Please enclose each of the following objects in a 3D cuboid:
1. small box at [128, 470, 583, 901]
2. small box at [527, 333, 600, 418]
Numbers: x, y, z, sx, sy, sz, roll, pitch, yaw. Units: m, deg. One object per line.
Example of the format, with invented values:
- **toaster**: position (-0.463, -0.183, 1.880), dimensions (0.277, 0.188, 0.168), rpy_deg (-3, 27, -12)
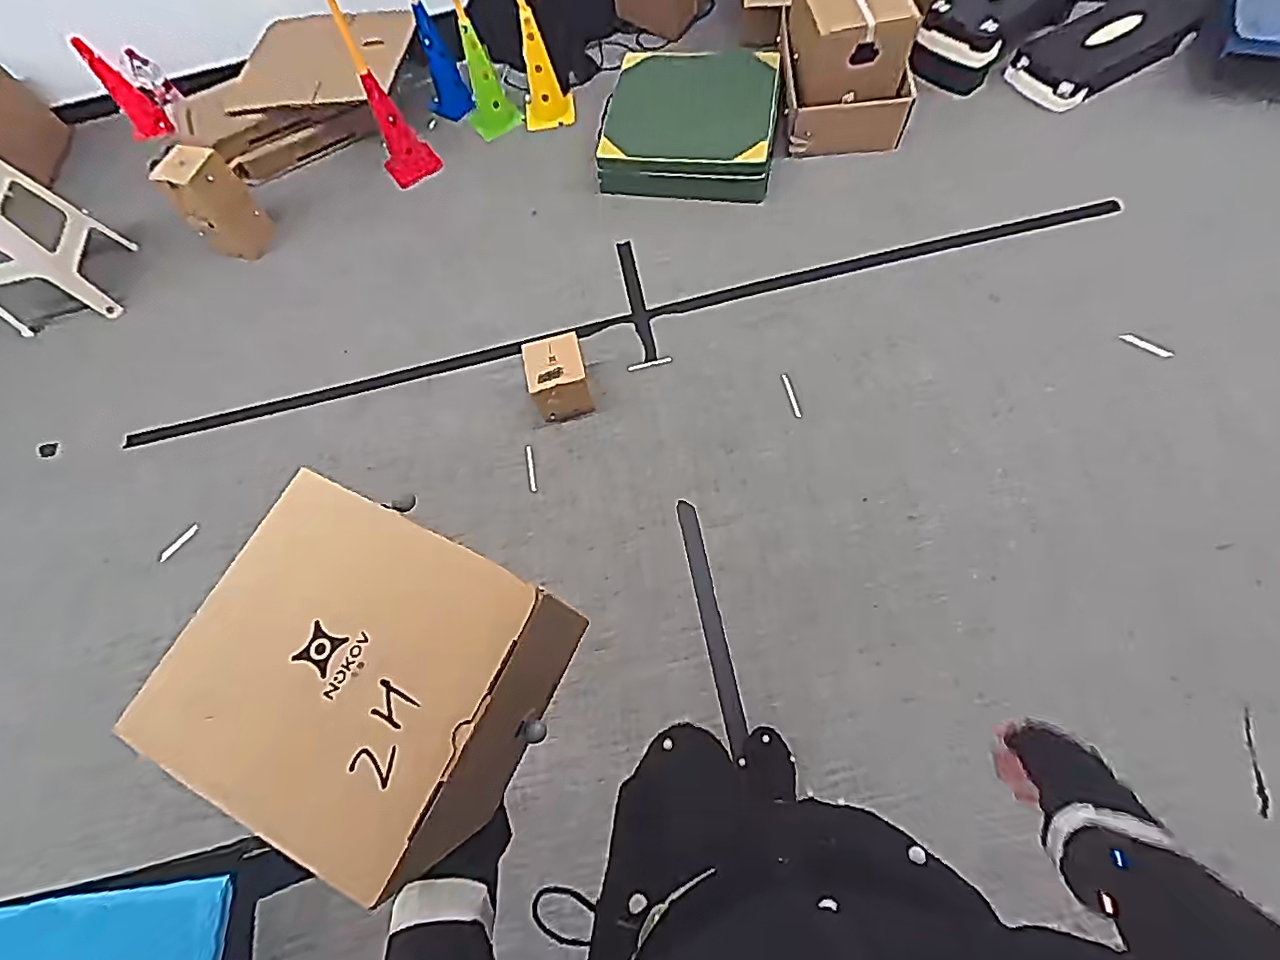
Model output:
- **small box**: position (-0.160, 0.124, 0.370), dimensions (0.179, 0.176, 0.168), rpy_deg (28, 75, 11)
- **small box**: position (-0.224, -0.303, 1.618), dimensions (0.168, 0.176, 0.179), rpy_deg (-14, 65, 1)
